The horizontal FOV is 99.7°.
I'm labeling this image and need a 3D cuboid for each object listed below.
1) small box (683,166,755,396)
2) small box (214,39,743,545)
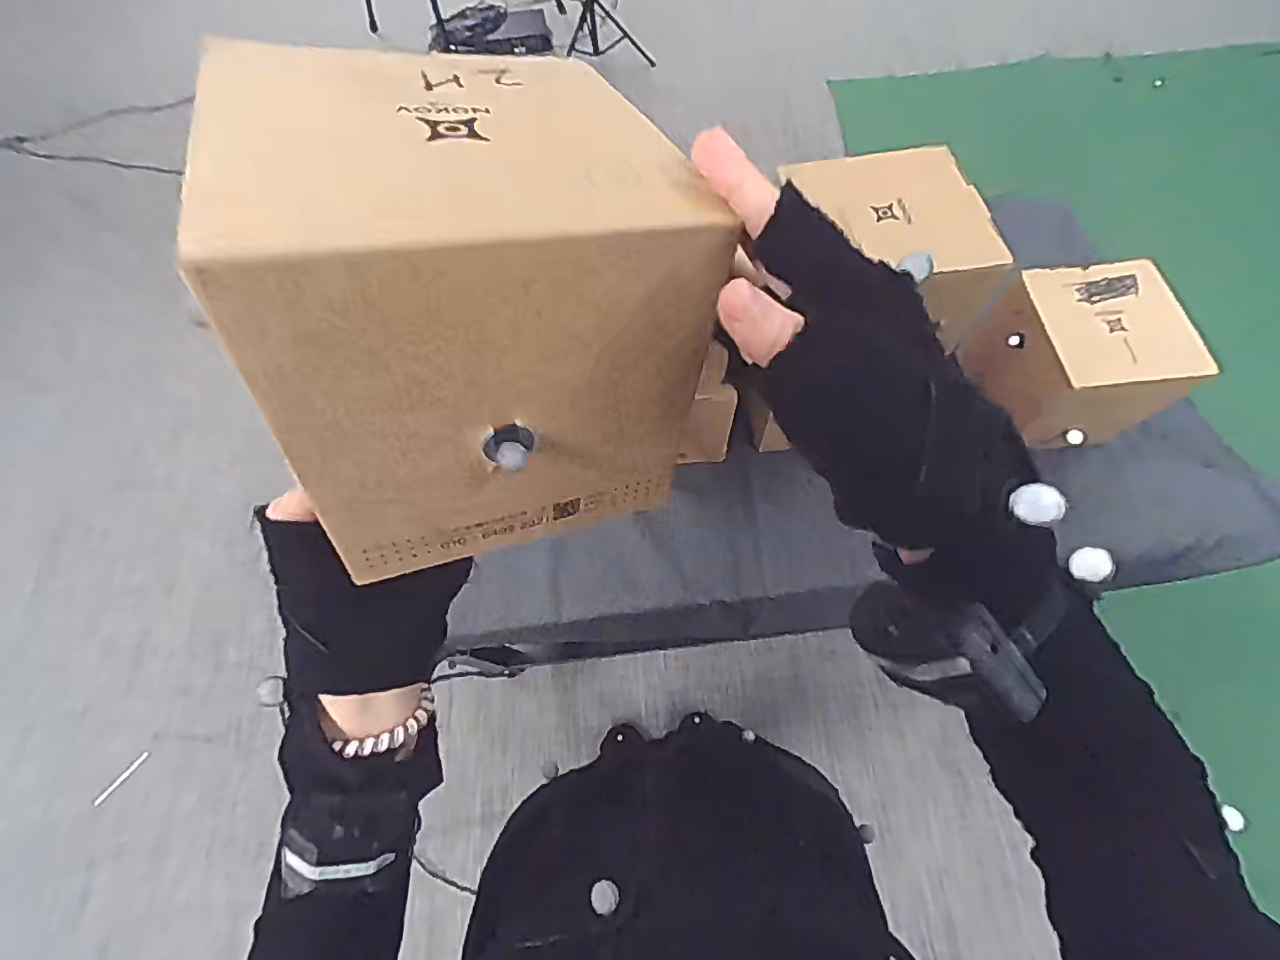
[{"bbox_3d":[0.012,-0.196,0.585,0.179,0.176,0.168,-11,67,-1],"label":"small box"},{"bbox_3d":[-0.079,-0.086,0.272,0.168,0.176,0.179,-15,57,-22],"label":"small box"}]
